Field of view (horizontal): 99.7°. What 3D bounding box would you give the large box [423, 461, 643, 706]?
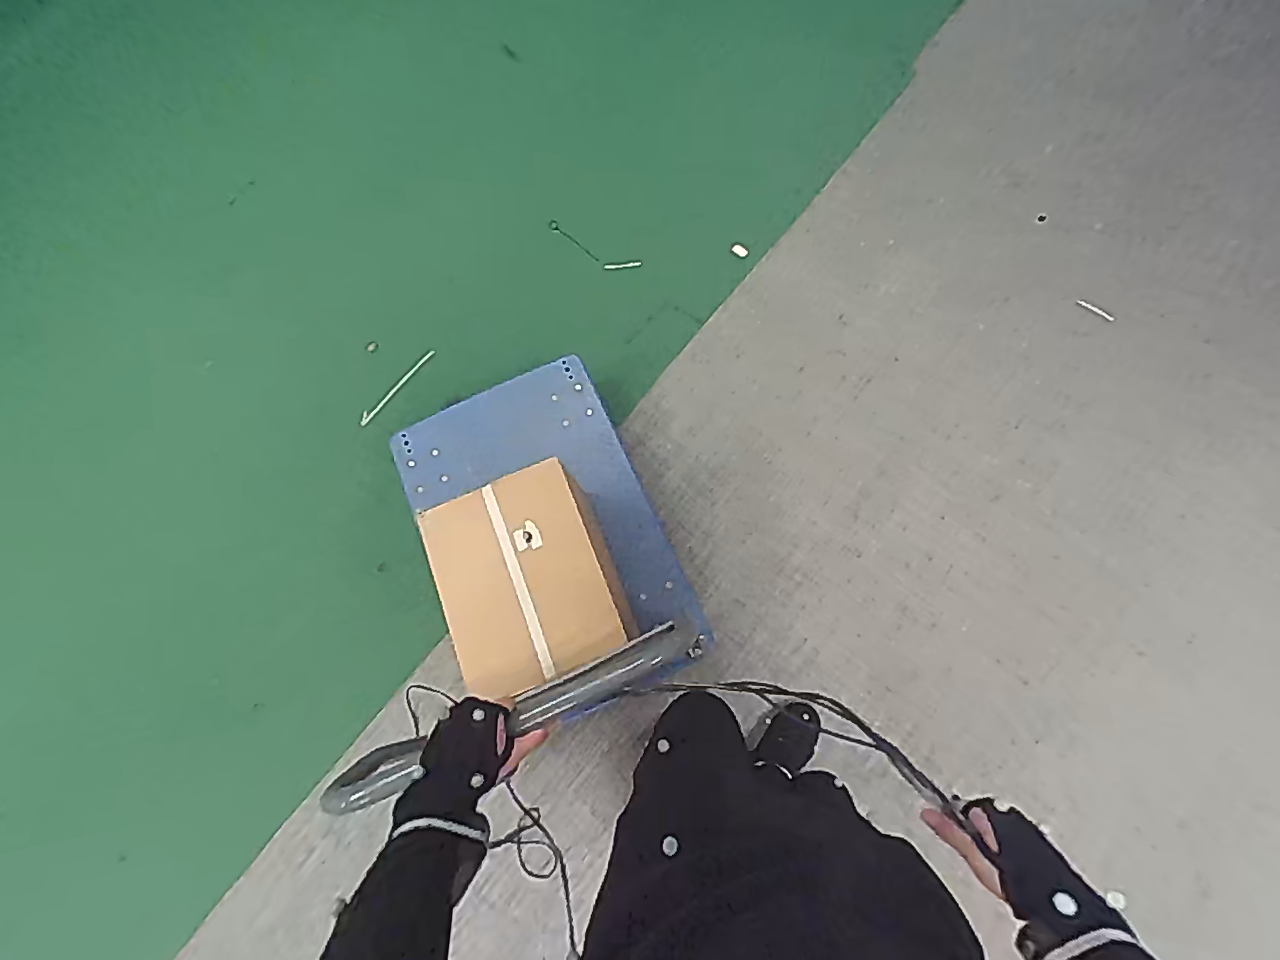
[{"bbox_3d":[-0.219,0.231,1.201,0.320,0.320,0.408,-22,73,-2],"label":"large box"}]
